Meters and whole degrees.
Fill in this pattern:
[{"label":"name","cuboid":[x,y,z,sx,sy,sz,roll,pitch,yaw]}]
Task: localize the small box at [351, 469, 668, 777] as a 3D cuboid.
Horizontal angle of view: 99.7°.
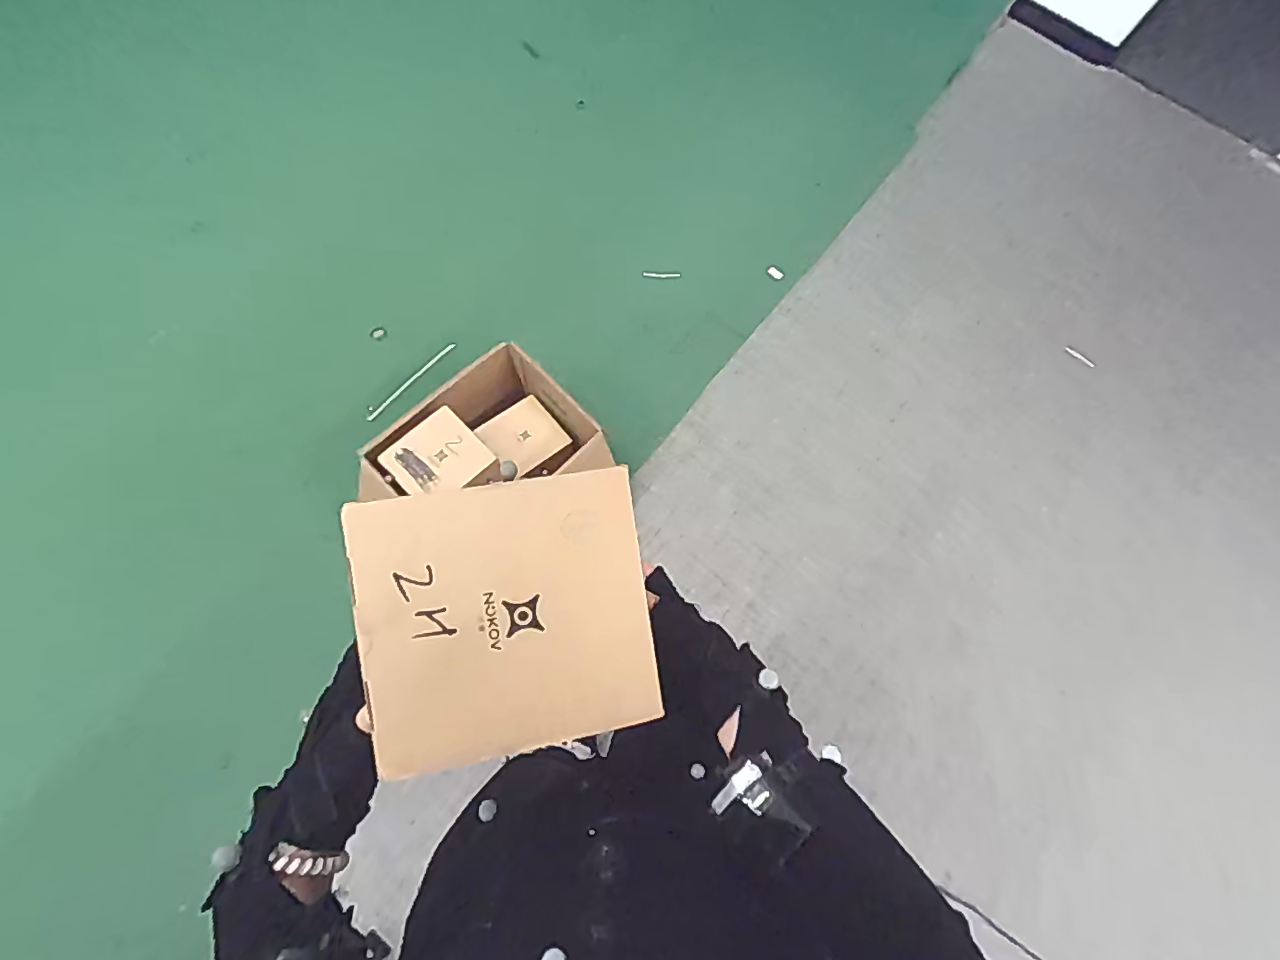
[{"label":"small box","cuboid":[-0.091,0.085,0.409,0.179,0.176,0.168,-8,89,-11]}]
